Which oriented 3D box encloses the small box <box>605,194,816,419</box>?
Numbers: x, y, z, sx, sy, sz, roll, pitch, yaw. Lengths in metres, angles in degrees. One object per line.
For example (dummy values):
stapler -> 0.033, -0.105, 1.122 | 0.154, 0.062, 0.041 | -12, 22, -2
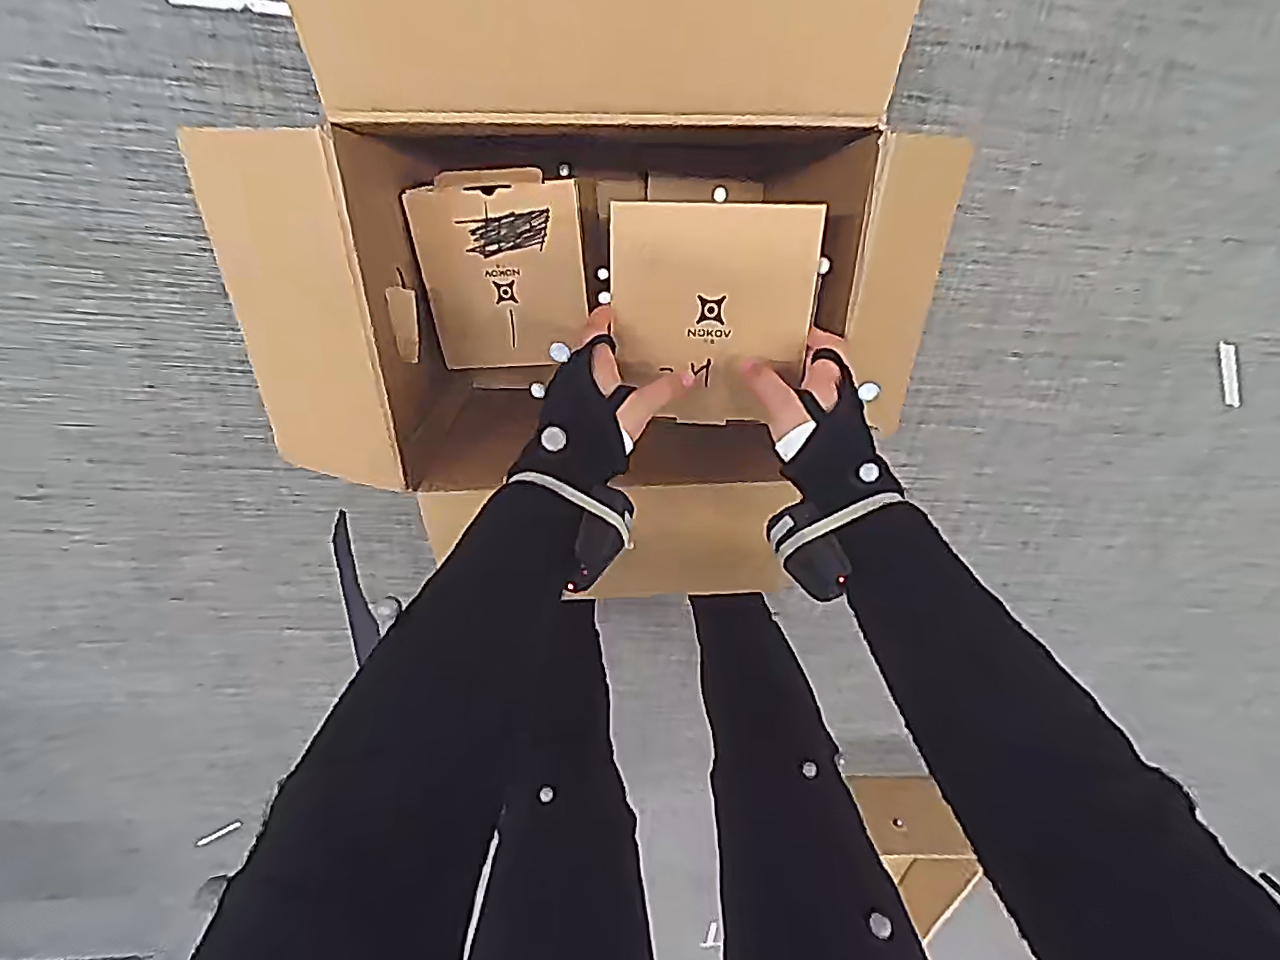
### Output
small box -> 0.057, -0.170, 0.523 | 0.168, 0.176, 0.179 | 3, 115, 4
